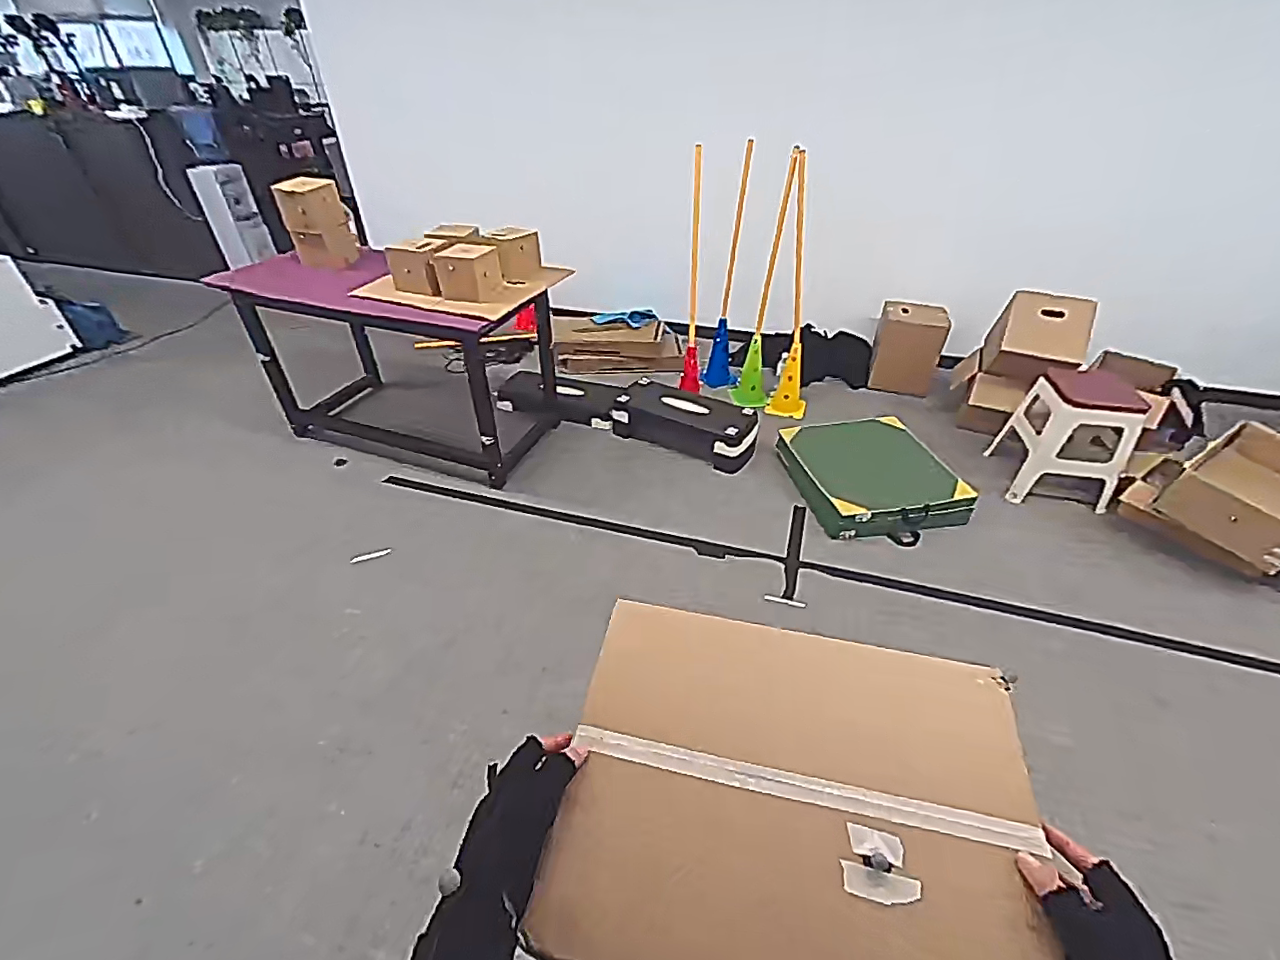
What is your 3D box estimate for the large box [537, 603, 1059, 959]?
[{"bbox_3d":[0.143,0.379,0.603,0.408,0.320,0.320,8,46,11],"label":"large box"}]
